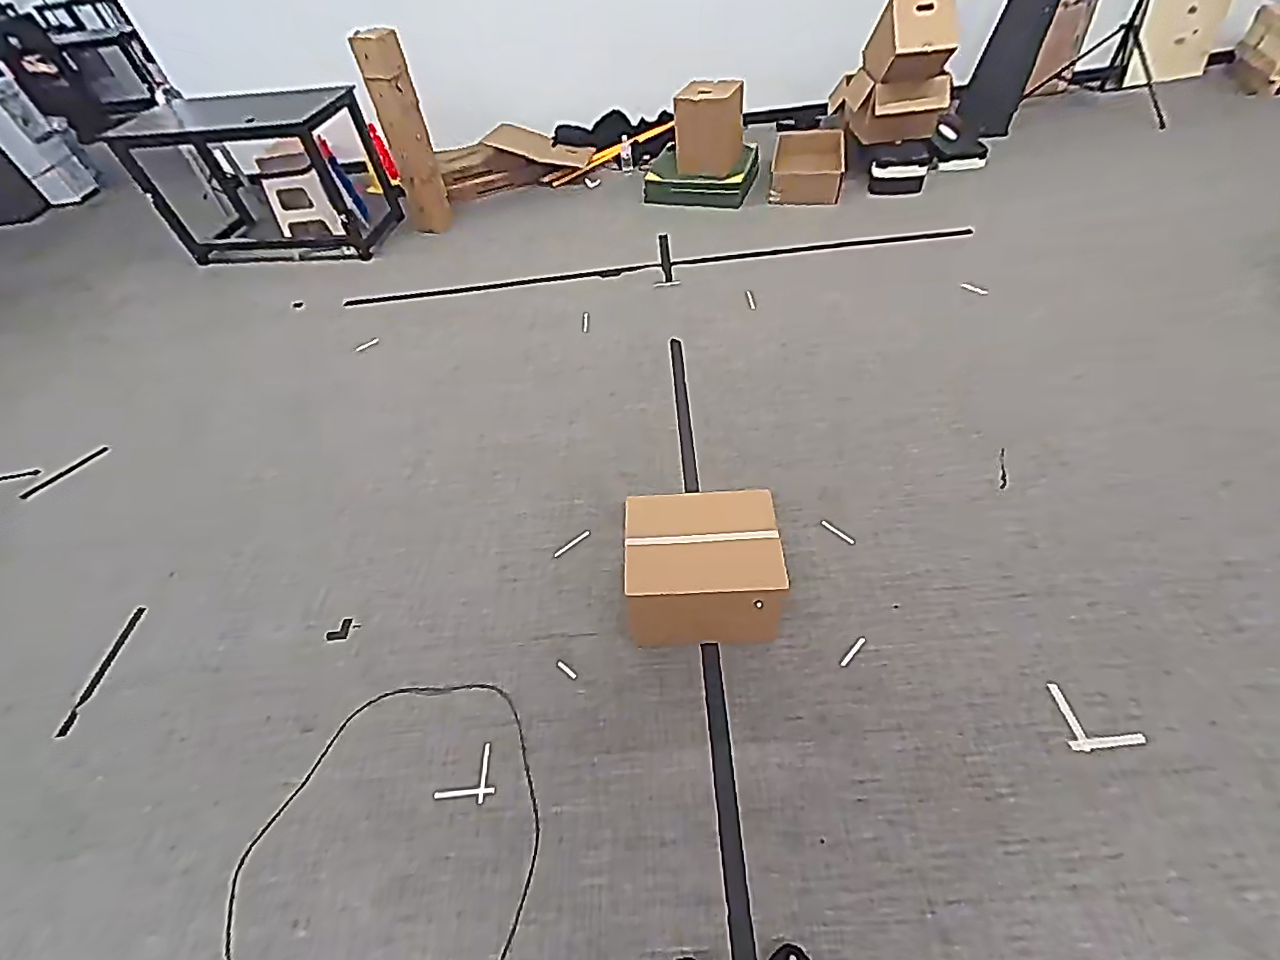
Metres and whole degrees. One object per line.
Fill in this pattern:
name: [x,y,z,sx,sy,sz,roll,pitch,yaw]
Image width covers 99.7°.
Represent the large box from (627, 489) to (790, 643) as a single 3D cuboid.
large box: [0.178,0.249,1.525,0.408,0.320,0.320,-3,50,3]
